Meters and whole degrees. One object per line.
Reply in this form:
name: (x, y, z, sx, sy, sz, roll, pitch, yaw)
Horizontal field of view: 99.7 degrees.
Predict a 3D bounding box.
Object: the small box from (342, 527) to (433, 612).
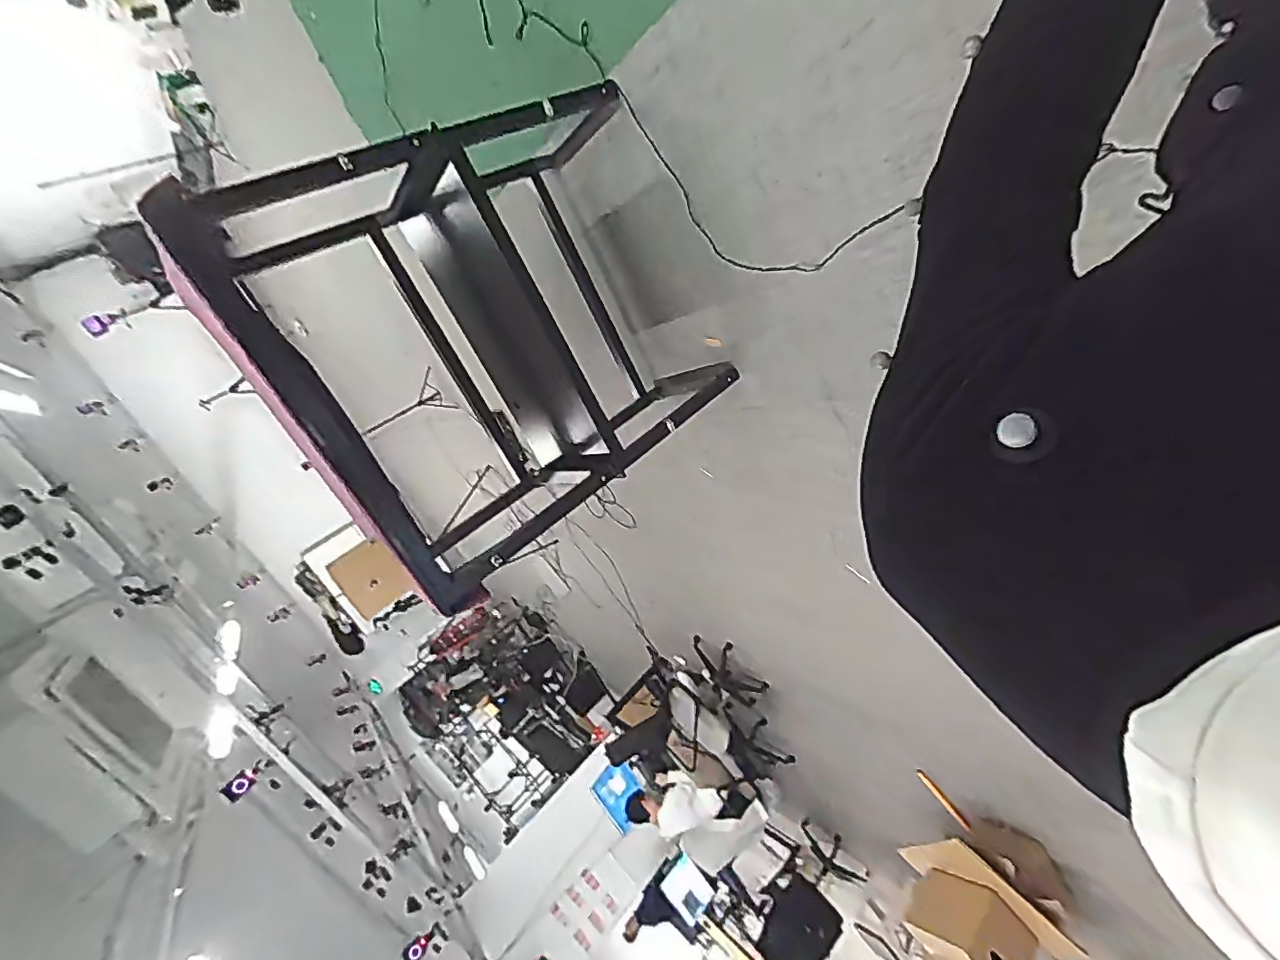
small box: (-0.750, 0.259, 1.607, 0.168, 0.176, 0.179, 1, 124, 57)
